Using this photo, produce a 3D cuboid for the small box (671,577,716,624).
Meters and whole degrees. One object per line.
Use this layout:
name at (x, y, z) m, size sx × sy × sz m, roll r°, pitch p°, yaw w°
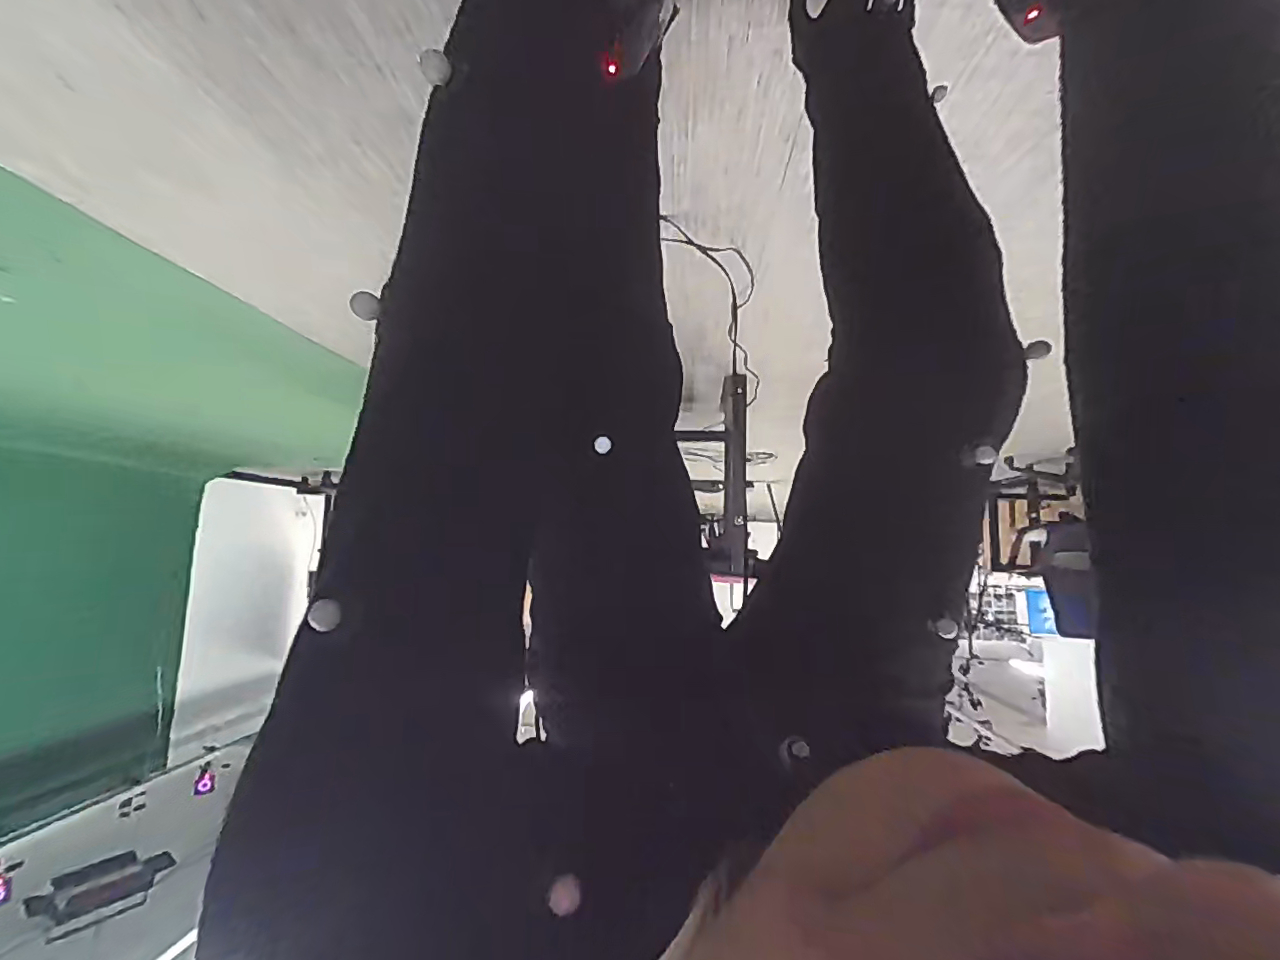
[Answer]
small box at (0.221, 0.489, 2.212) m, size 0.179 × 0.176 × 0.168 m, roll 1°, pitch 172°, yaw 9°
